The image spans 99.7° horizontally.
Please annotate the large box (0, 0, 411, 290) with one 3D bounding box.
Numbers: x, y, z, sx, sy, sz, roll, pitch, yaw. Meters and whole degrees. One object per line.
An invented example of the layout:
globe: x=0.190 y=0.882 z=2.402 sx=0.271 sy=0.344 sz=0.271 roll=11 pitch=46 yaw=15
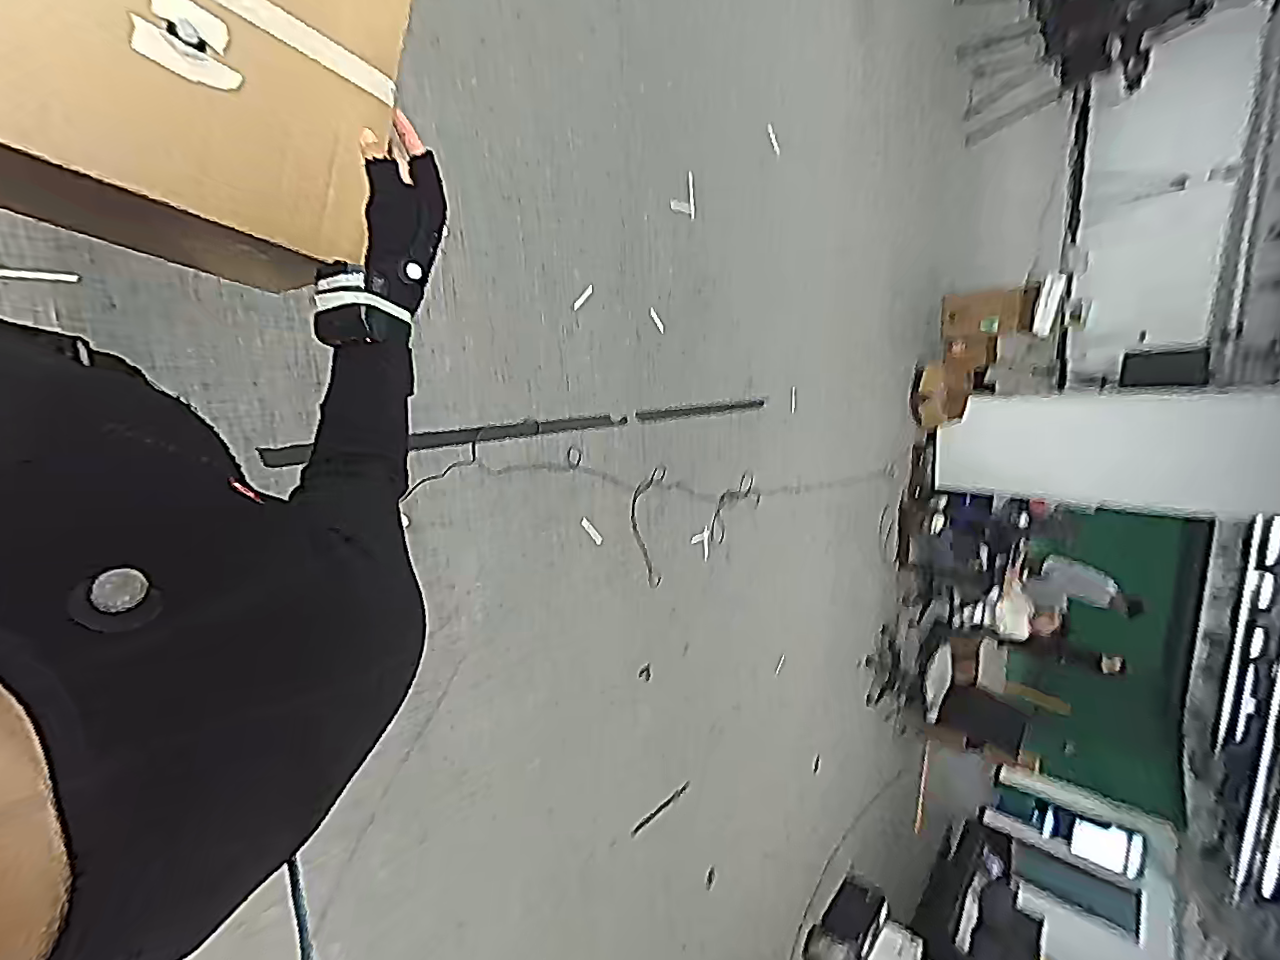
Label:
large box: x=-0.470 y=-0.389 z=0.450 sx=0.408 sy=0.320 sz=0.320 roll=11 pitch=93 yaw=-47
